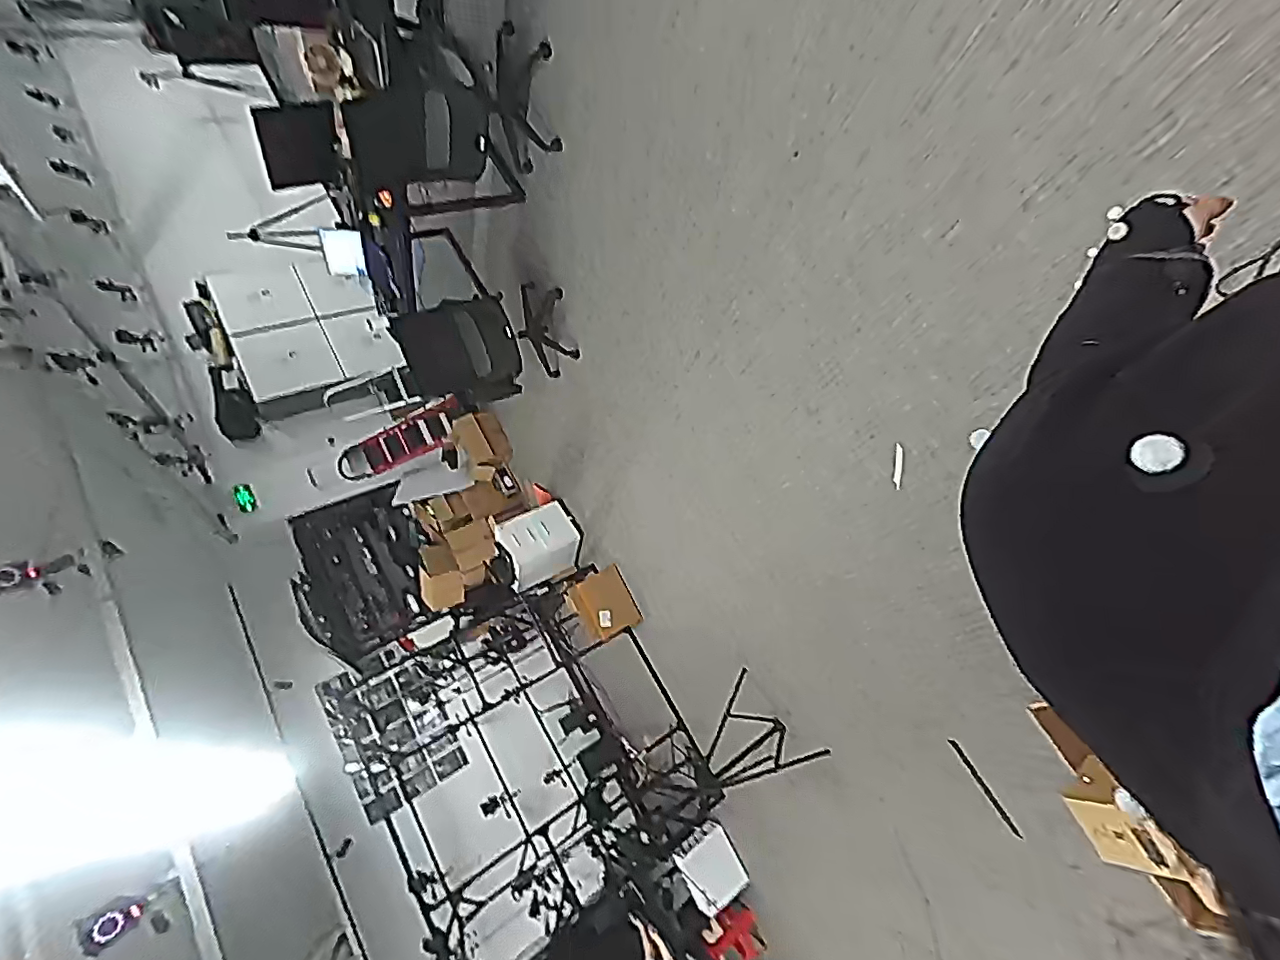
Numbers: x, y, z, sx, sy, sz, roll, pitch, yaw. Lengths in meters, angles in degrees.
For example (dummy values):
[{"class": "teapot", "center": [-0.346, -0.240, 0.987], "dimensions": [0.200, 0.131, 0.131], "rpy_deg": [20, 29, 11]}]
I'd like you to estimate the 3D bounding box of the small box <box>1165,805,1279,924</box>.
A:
[{"class": "small box", "center": [1.399, 0.878, 1.252], "dimensions": [0.168, 0.176, 0.179], "rpy_deg": [59, 152, 17]}]
